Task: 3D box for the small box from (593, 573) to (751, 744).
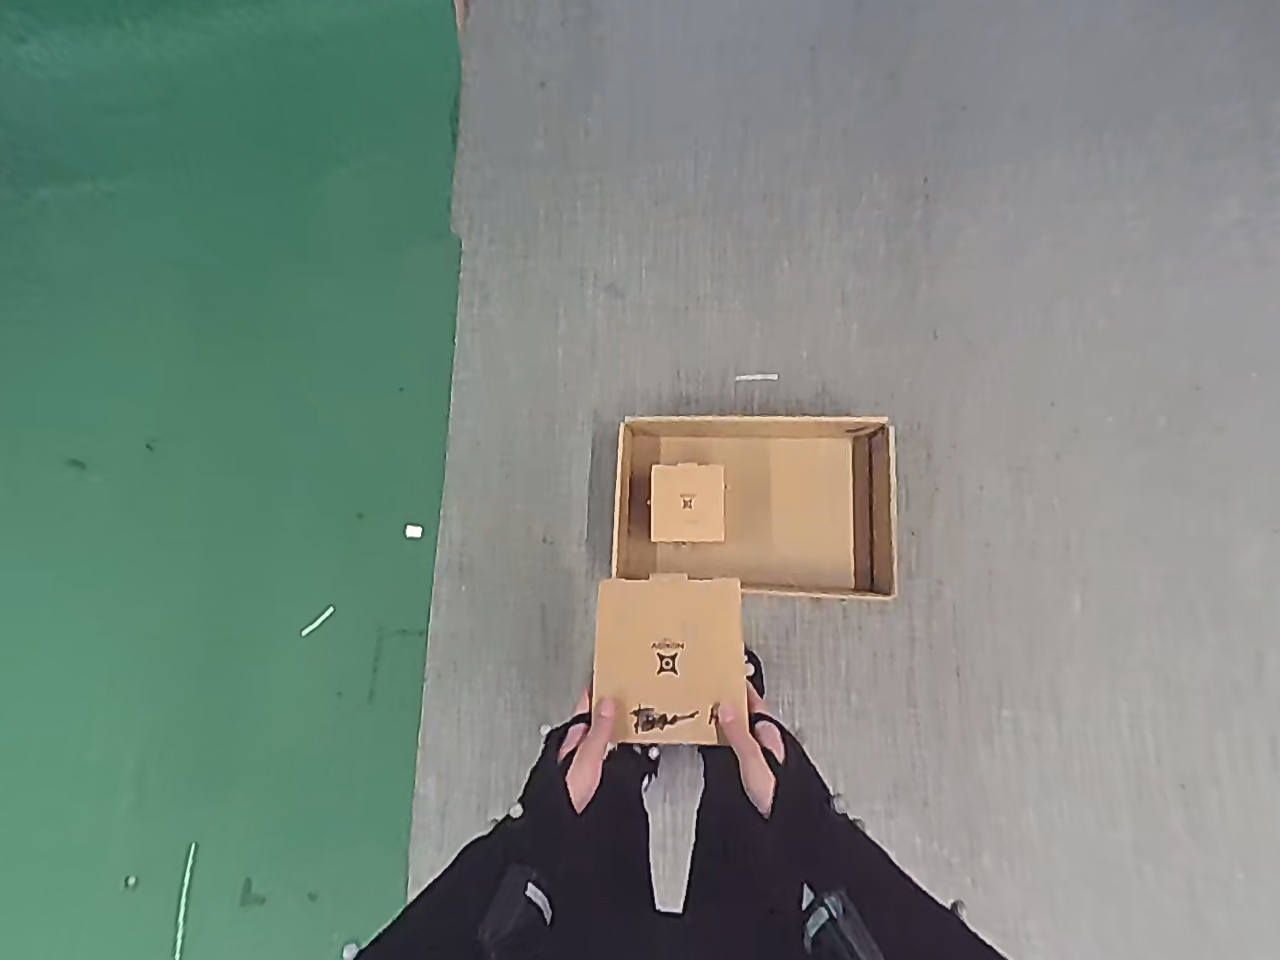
[{"bbox_3d":[0.044,0.223,0.662,0.168,0.176,0.179,-1,64,7],"label":"small box"}]
